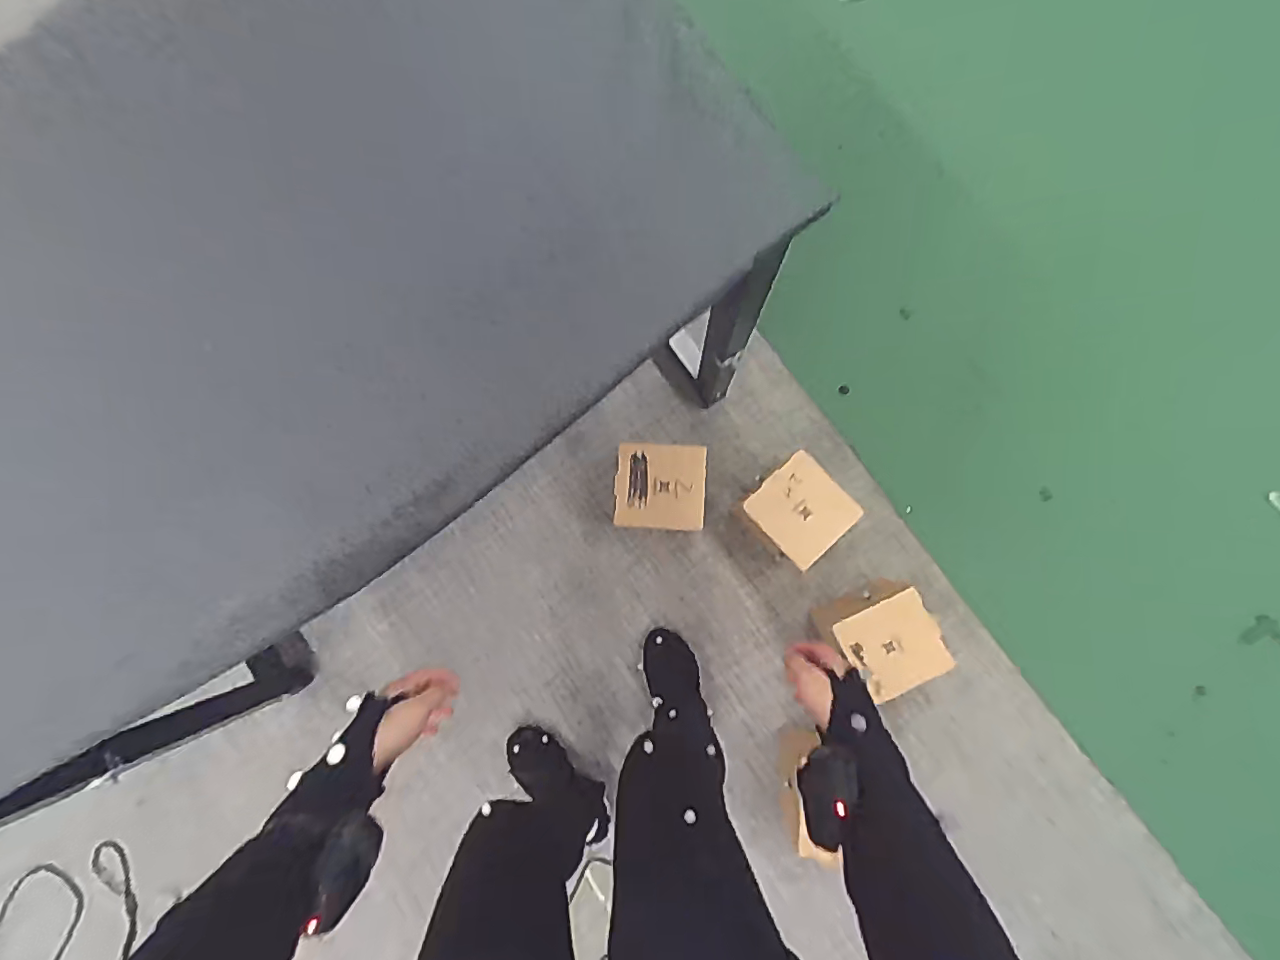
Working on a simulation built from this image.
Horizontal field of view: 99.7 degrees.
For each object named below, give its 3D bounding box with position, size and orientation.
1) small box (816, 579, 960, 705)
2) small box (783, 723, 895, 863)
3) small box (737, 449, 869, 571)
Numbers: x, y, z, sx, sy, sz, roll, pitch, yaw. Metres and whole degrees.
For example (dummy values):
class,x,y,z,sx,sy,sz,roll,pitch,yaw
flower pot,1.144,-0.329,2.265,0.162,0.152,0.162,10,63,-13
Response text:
class,x,y,z,sx,sy,sz,roll,pitch,yaw
small box,0.479,0.309,1.074,0.179,0.176,0.168,-26,85,1
small box,0.381,0.601,1.056,0.168,0.176,0.179,3,85,3
small box,0.320,0.060,1.103,0.168,0.176,0.179,-43,84,-2
